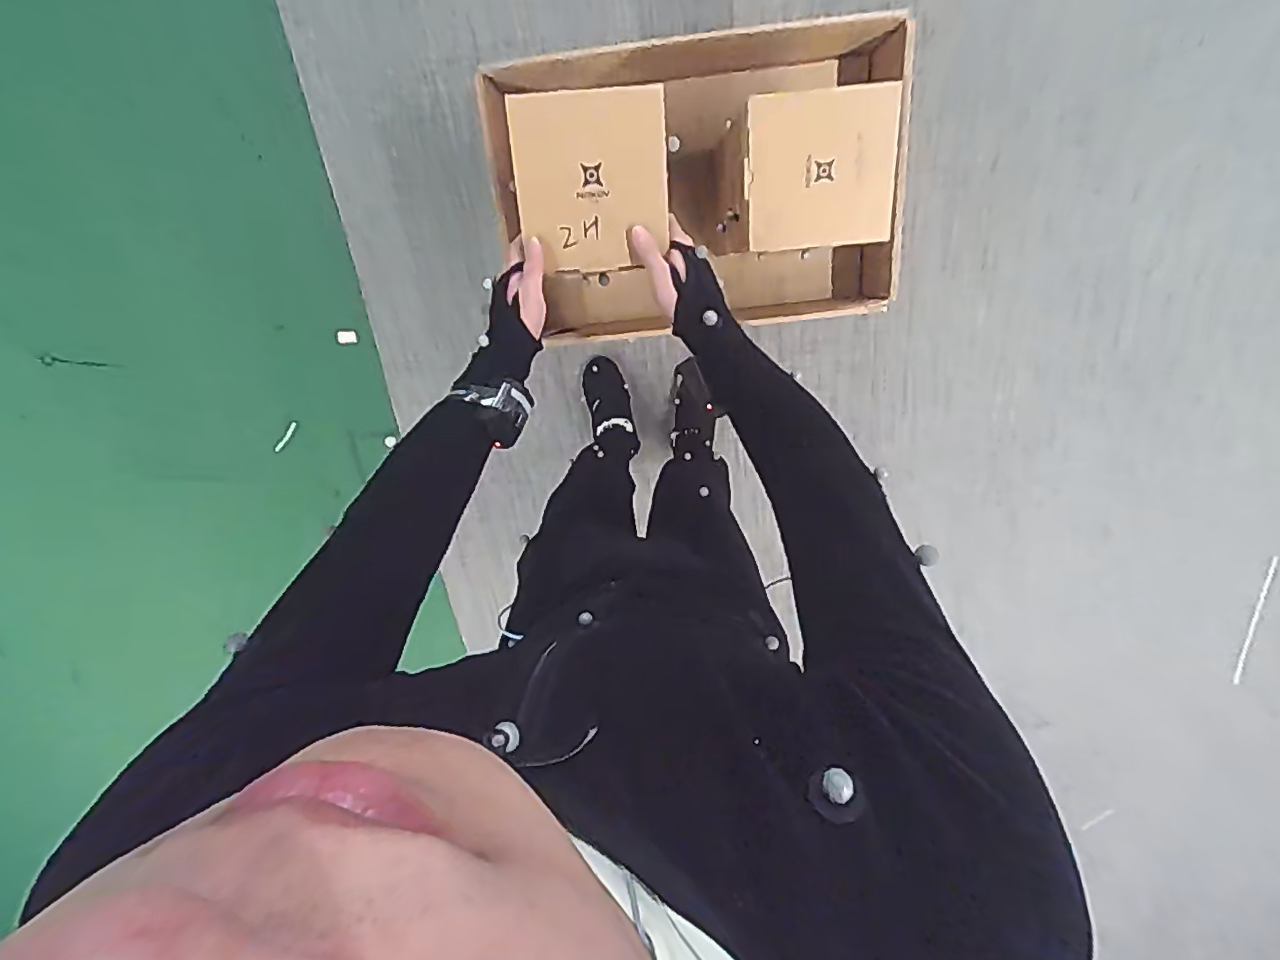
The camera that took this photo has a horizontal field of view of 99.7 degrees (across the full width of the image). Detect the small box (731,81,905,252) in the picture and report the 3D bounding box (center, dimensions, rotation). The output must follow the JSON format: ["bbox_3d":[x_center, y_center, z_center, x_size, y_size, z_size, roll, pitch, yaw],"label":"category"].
[{"bbox_3d":[0.214,-0.392,0.705,0.179,0.176,0.168,-4,113,2],"label":"small box"}]

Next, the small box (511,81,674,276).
[{"bbox_3d":[-0.049,-0.343,0.648,0.168,0.176,0.179,-3,110,0],"label":"small box"}]
